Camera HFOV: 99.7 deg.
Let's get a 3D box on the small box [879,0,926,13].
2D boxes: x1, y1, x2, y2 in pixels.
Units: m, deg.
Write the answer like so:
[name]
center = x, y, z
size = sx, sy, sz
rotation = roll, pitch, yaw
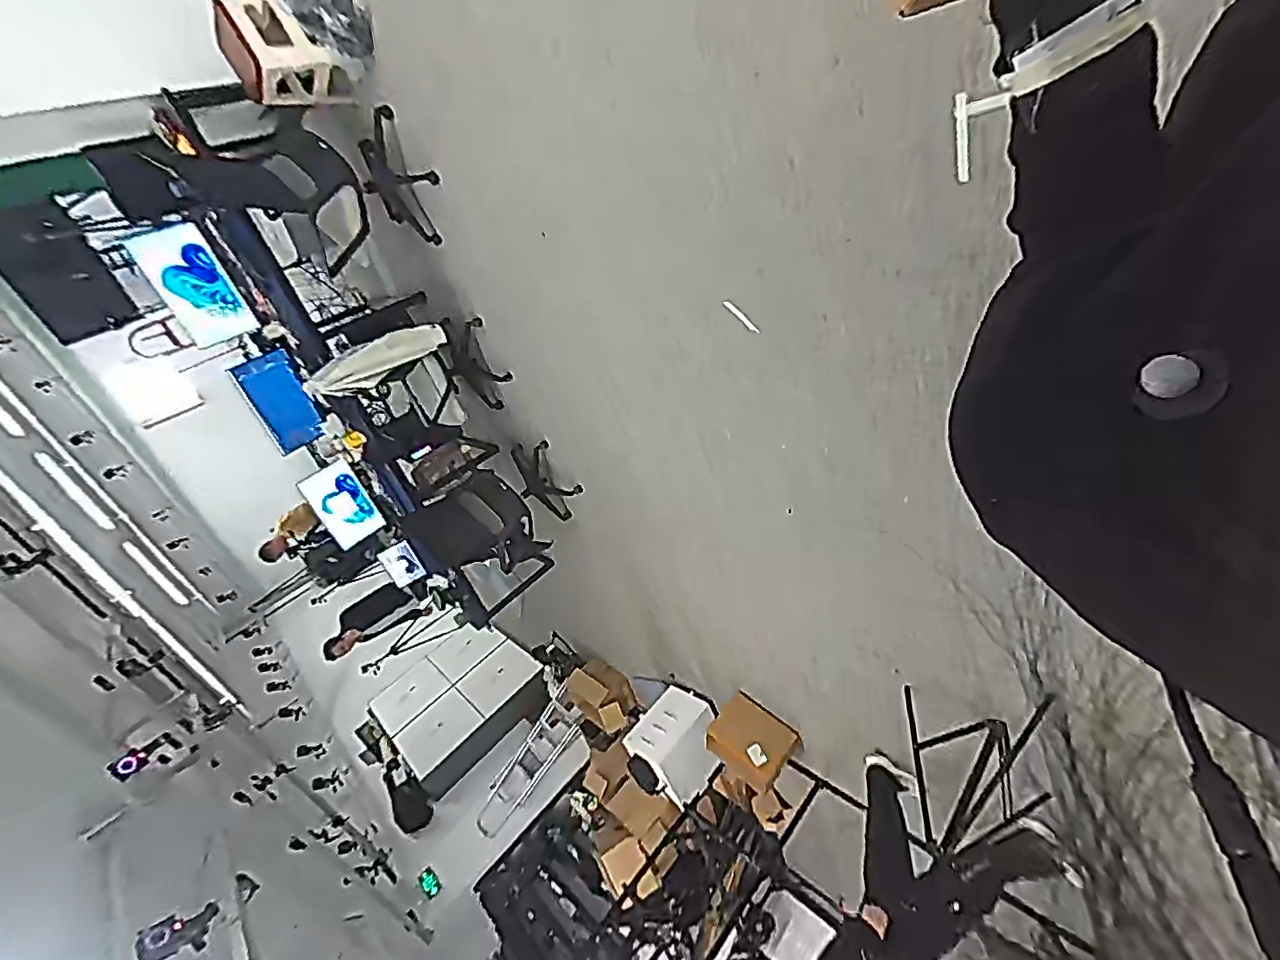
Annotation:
[small box]
center = 0.132, -0.337, 0.206
size = 0.179, 0.176, 0.168
rotation = 47, 146, 0
